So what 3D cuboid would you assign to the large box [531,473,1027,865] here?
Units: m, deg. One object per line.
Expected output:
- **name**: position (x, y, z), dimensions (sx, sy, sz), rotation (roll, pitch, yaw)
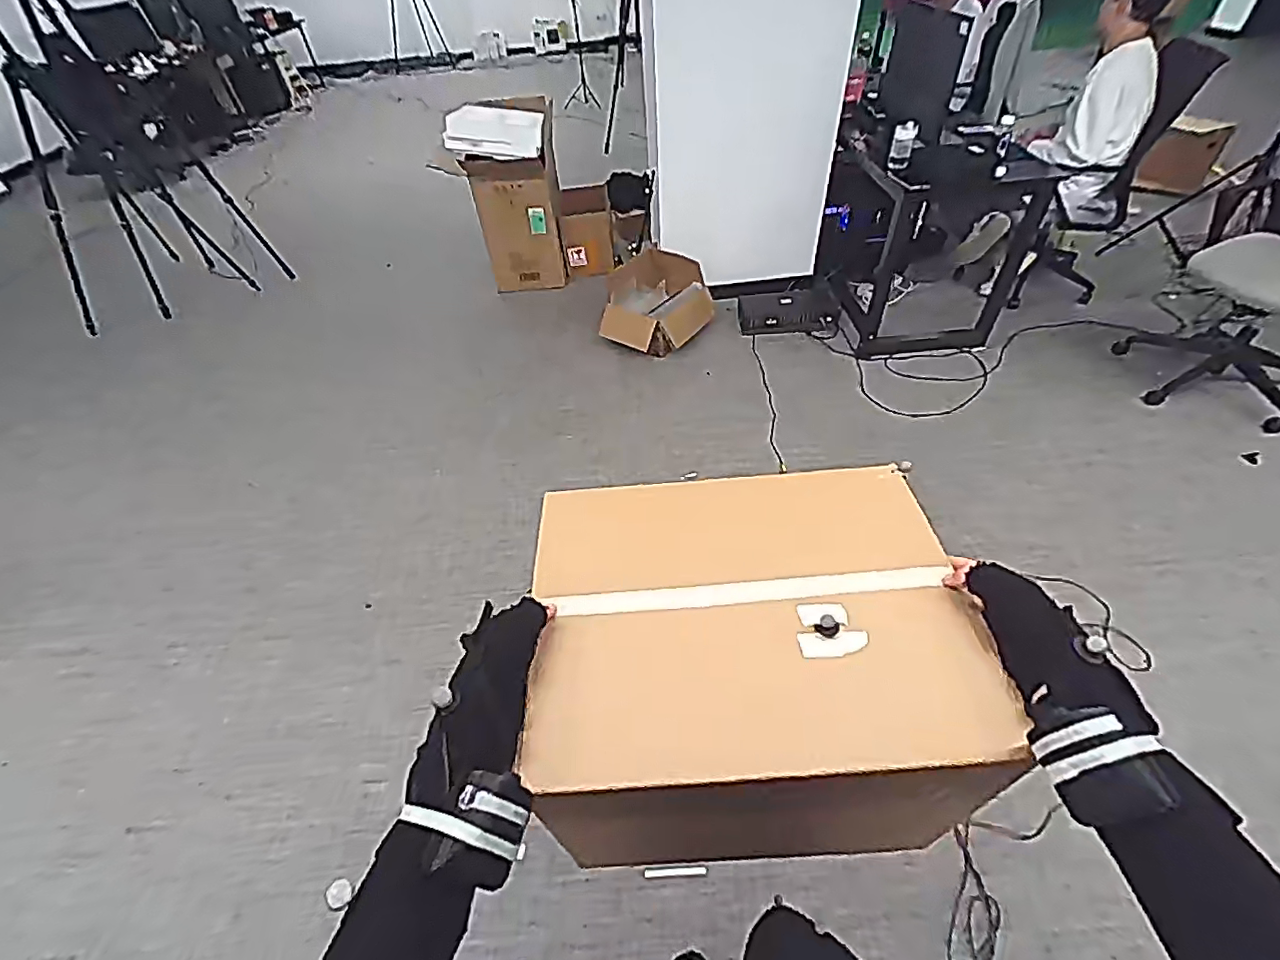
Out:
- **large box**: position (0.111, 0.222, 0.634), dimensions (0.408, 0.320, 0.320), rotation (-5, 45, 1)
